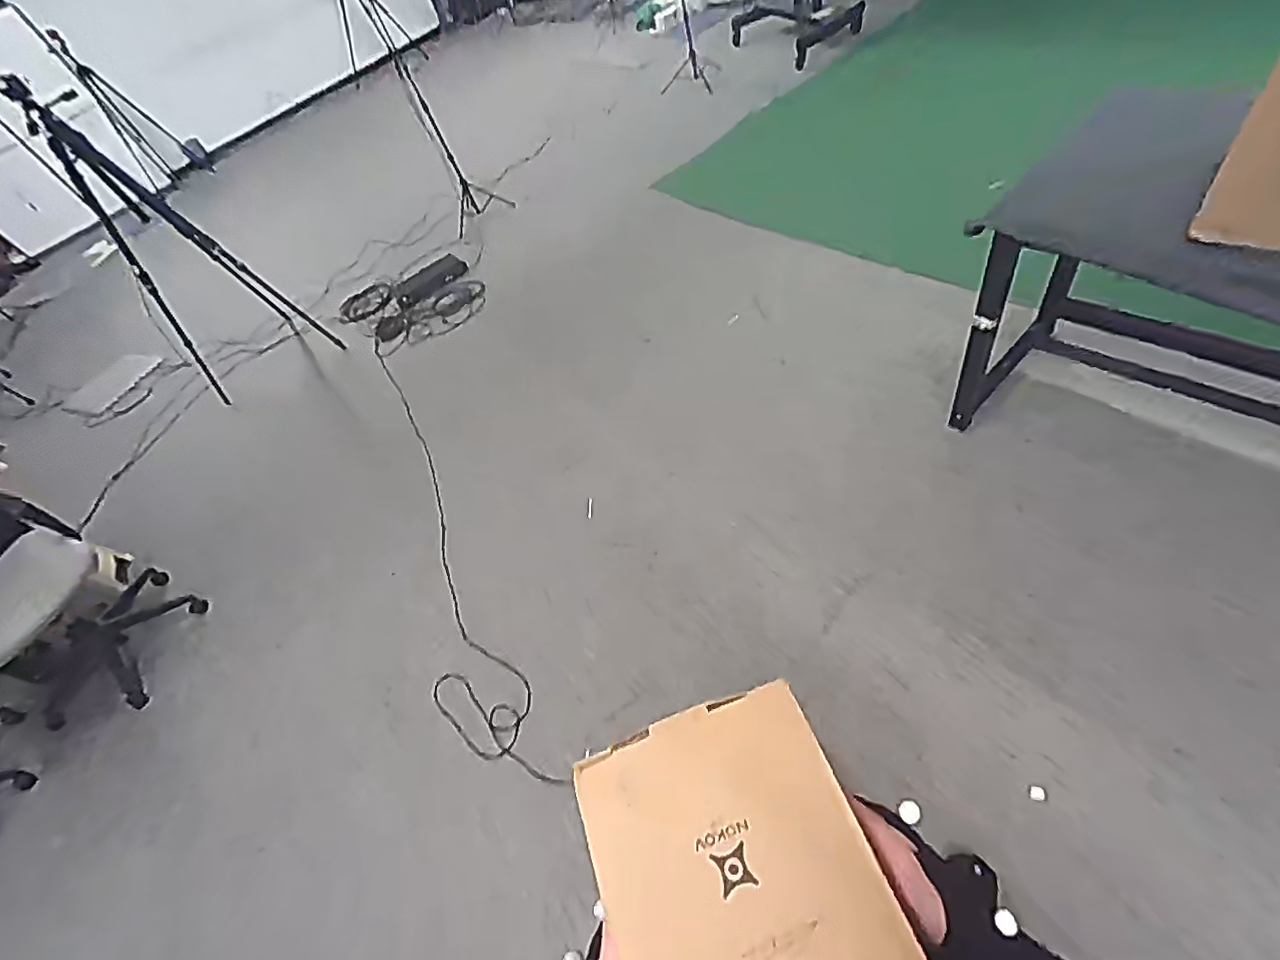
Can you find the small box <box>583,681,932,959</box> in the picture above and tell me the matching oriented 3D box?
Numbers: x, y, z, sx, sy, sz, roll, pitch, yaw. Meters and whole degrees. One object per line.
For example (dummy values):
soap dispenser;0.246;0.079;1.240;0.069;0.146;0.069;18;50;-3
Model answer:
small box;0.071;0.280;0.398;0.168;0.176;0.179;-20;55;-4
